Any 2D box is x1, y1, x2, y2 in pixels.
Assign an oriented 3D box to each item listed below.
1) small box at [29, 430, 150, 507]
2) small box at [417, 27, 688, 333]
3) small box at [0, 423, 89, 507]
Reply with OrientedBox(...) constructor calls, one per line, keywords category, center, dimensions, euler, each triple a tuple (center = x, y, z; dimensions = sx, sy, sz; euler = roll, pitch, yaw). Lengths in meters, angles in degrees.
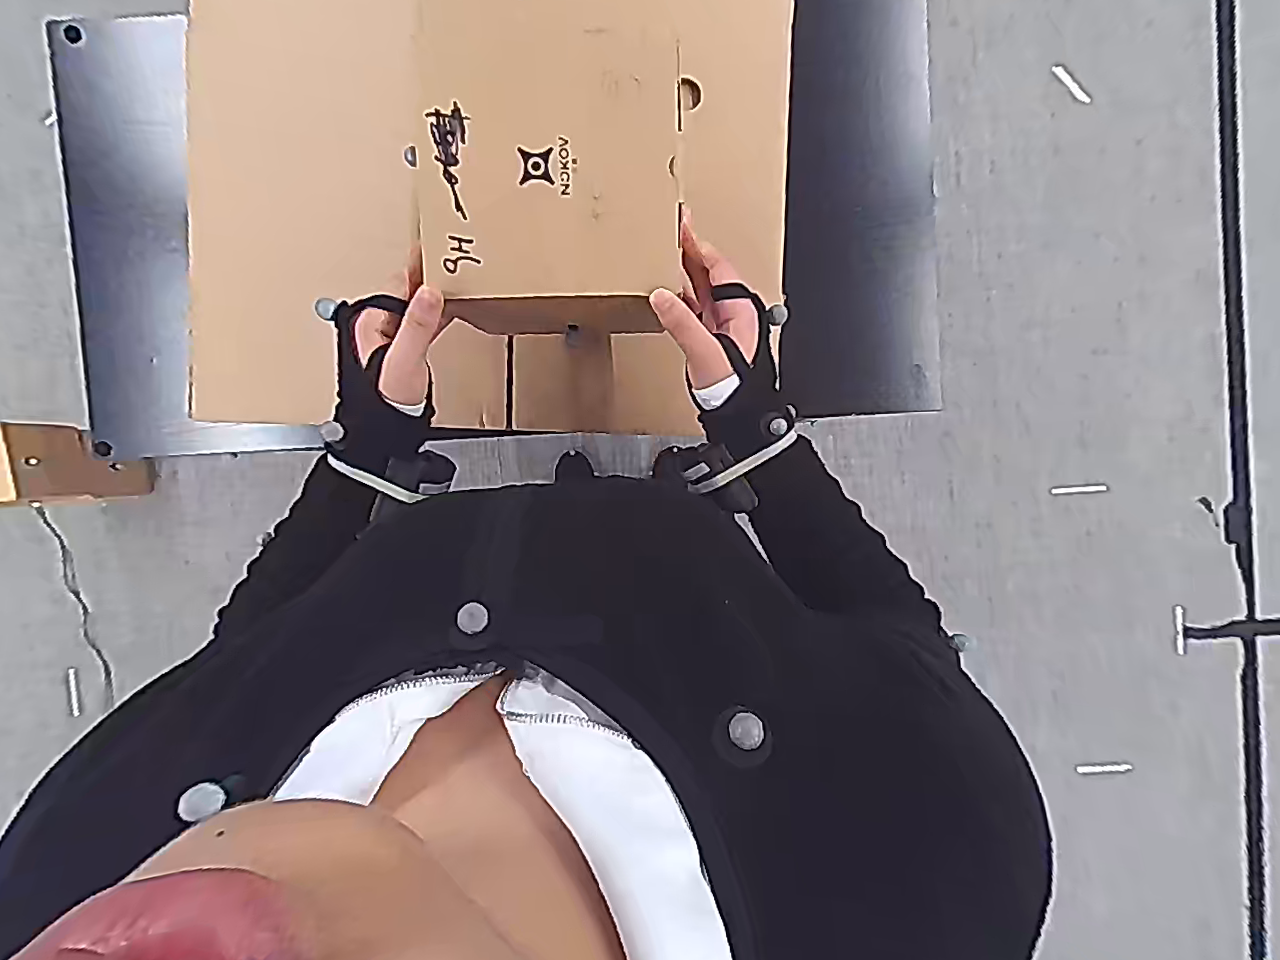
OrientedBox(category="small box", center=(-1.446, -0.031, 1.417), dimensions=(0.168, 0.176, 0.179), euler=(-8, 93, 0))
OrientedBox(category="small box", center=(-0.060, -0.217, 0.438), dimensions=(0.179, 0.176, 0.168), euler=(-1, 95, -2))
OrientedBox(category="small box", center=(-1.447, -0.031, 1.254), dimensions=(0.168, 0.176, 0.179), euler=(-10, 92, 0))
